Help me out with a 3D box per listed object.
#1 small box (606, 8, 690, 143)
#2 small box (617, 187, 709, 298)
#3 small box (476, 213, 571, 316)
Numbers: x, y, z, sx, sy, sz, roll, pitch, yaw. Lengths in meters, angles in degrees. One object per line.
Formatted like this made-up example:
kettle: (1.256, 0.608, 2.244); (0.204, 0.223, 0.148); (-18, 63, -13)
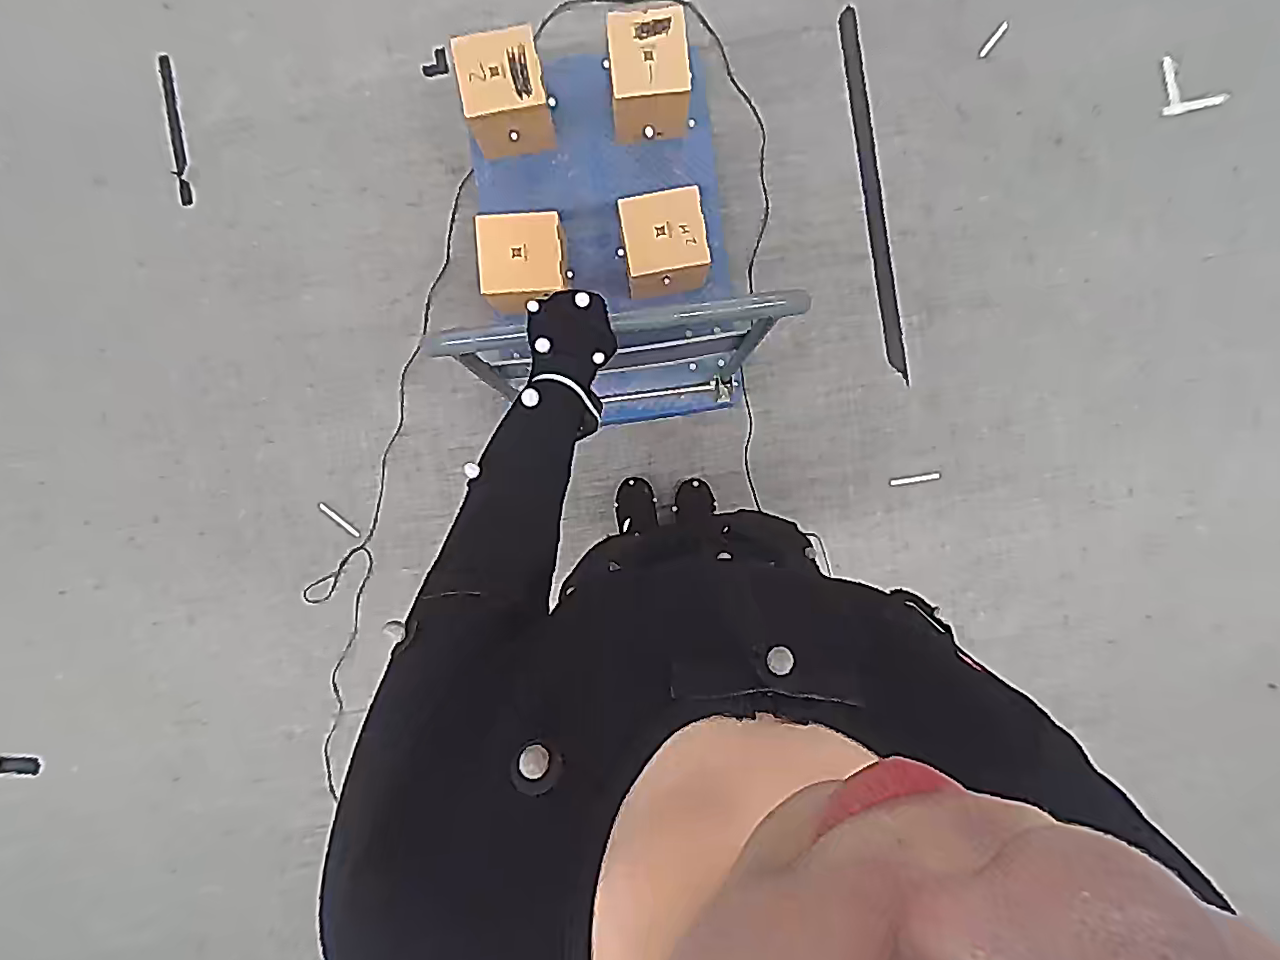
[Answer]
small box: (0.015, -0.893, 1.206); (0.168, 0.176, 0.179); (-6, 93, 0)
small box: (0.050, -0.524, 1.219); (0.179, 0.176, 0.168); (-10, 92, 0)
small box: (-0.256, -0.477, 1.219); (0.179, 0.176, 0.168); (-5, 91, -2)
